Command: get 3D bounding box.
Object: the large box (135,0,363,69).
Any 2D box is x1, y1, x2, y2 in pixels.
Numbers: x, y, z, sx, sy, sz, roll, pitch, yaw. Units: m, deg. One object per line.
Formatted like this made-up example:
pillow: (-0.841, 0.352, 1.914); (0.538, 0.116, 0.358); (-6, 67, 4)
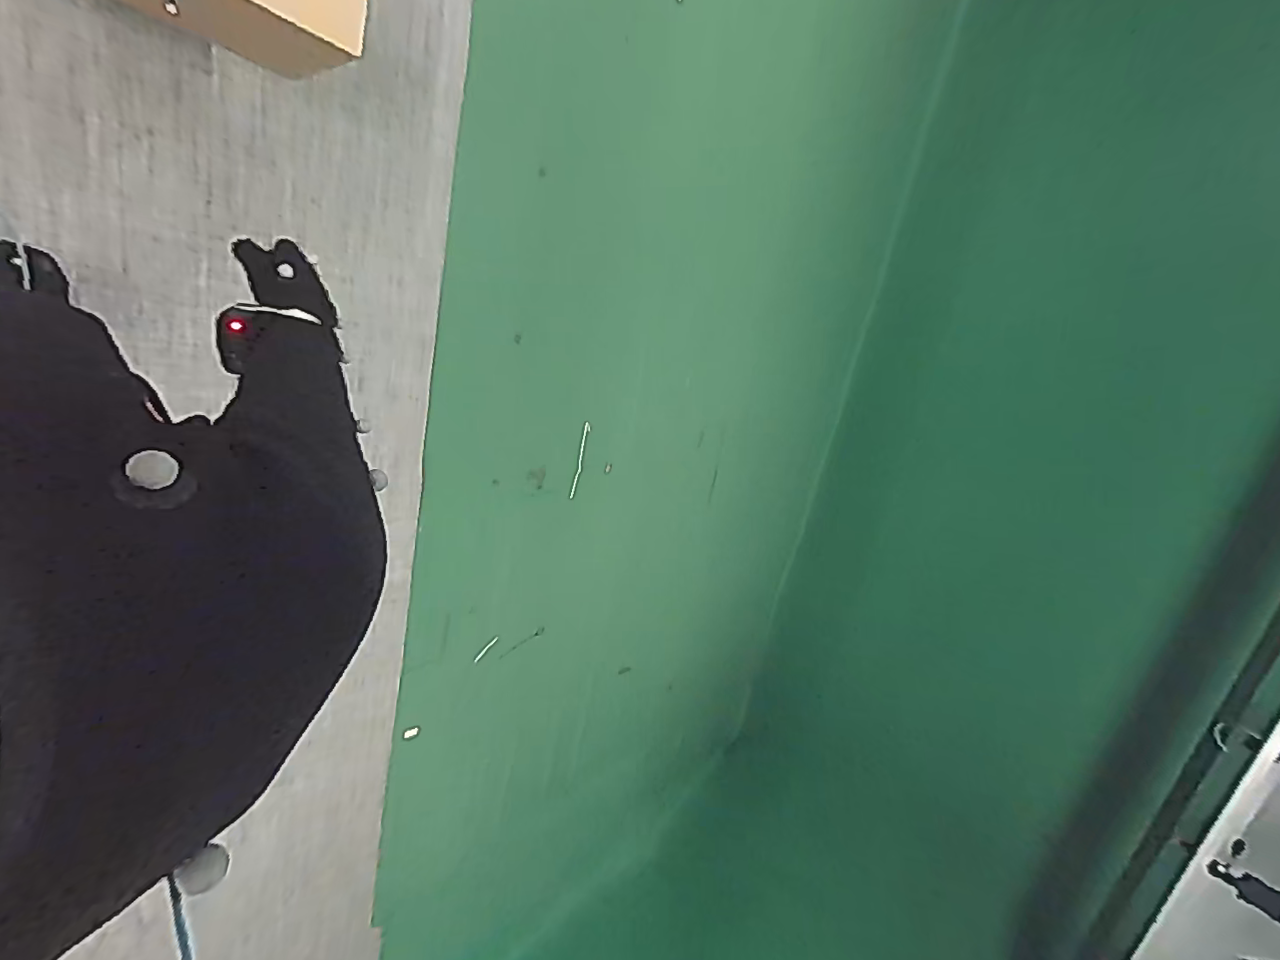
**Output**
large box: (-0.642, -0.850, 0.747); (0.408, 0.320, 0.320); (-4, 112, -49)
